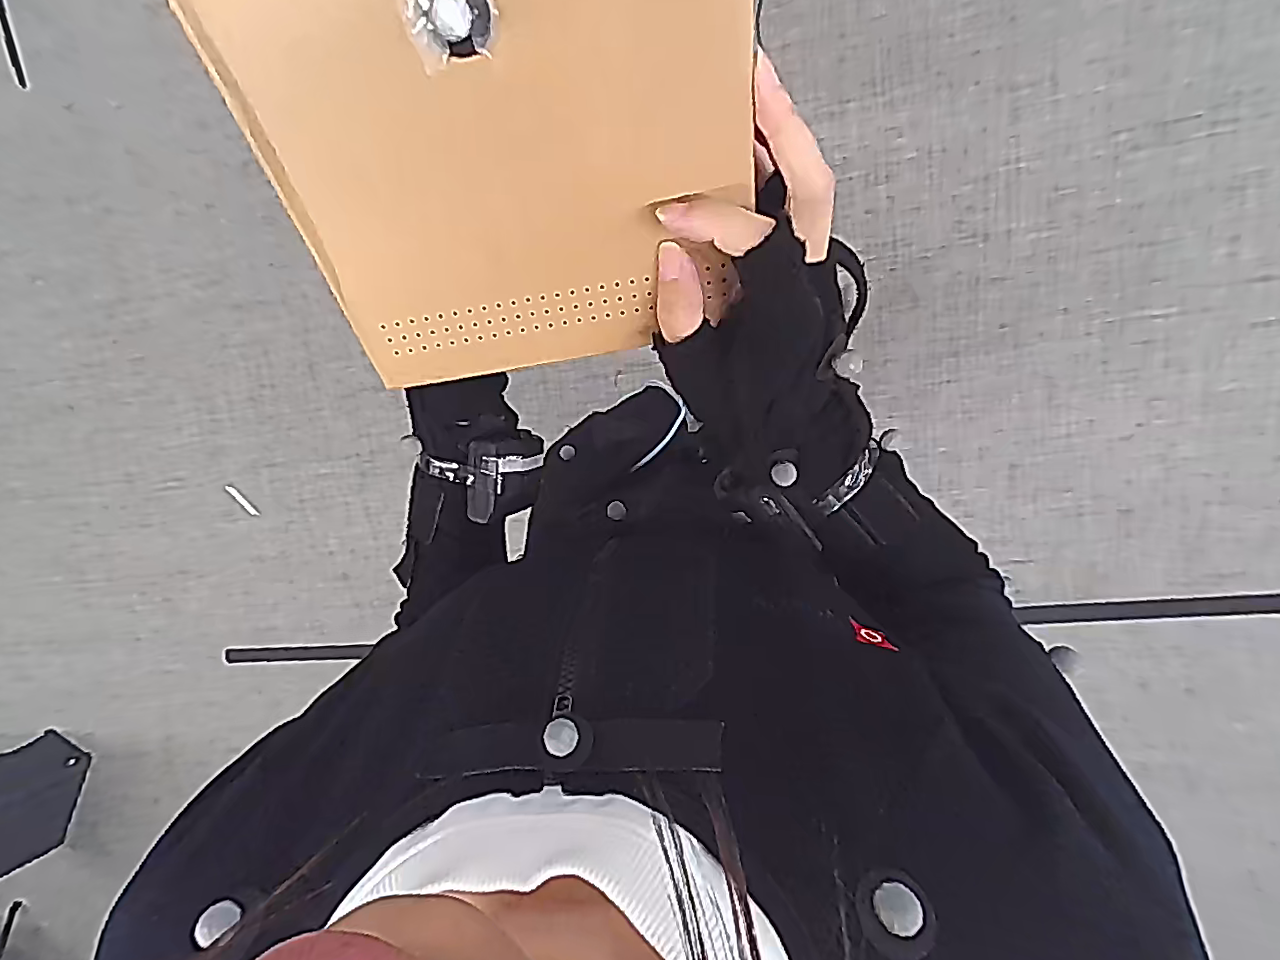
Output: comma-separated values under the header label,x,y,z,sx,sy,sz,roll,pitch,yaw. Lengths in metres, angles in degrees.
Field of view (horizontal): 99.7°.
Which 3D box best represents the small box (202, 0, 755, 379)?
label,x,y,z,sx,sy,sz,roll,pitch,yaw
small box,-0.048,-0.165,0.257,0.179,0.168,0.176,-9,134,3
